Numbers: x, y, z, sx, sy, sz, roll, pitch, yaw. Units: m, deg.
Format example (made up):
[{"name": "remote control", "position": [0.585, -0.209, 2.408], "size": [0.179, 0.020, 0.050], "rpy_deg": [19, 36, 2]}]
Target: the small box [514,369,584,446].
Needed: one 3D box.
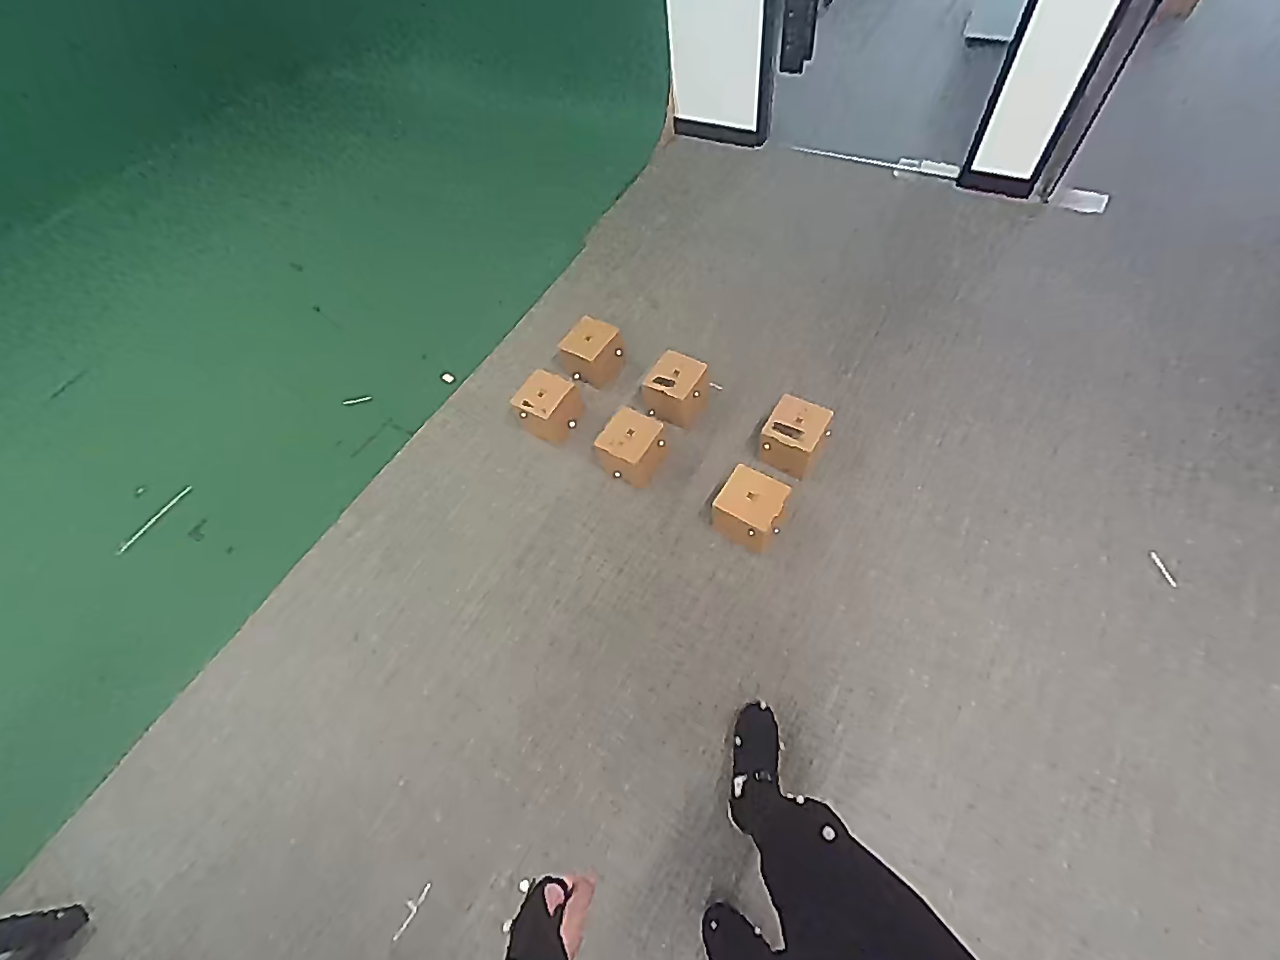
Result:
[{"name": "small box", "position": [-0.314, -0.256, 1.925], "size": [0.168, 0.176, 0.179], "rpy_deg": [25, 66, 22]}]

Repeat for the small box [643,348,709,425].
[{"name": "small box", "position": [0.134, -0.321, 1.889], "size": [0.168, 0.176, 0.179], "rpy_deg": [27, 68, 22]}]

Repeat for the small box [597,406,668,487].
[{"name": "small box", "position": [-0.017, -0.108, 1.793], "size": [0.168, 0.176, 0.179], "rpy_deg": [27, 68, 22]}]

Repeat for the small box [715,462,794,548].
[{"name": "small box", "position": [0.340, 0.081, 1.631], "size": [0.179, 0.176, 0.168], "rpy_deg": [28, 68, 21]}]
